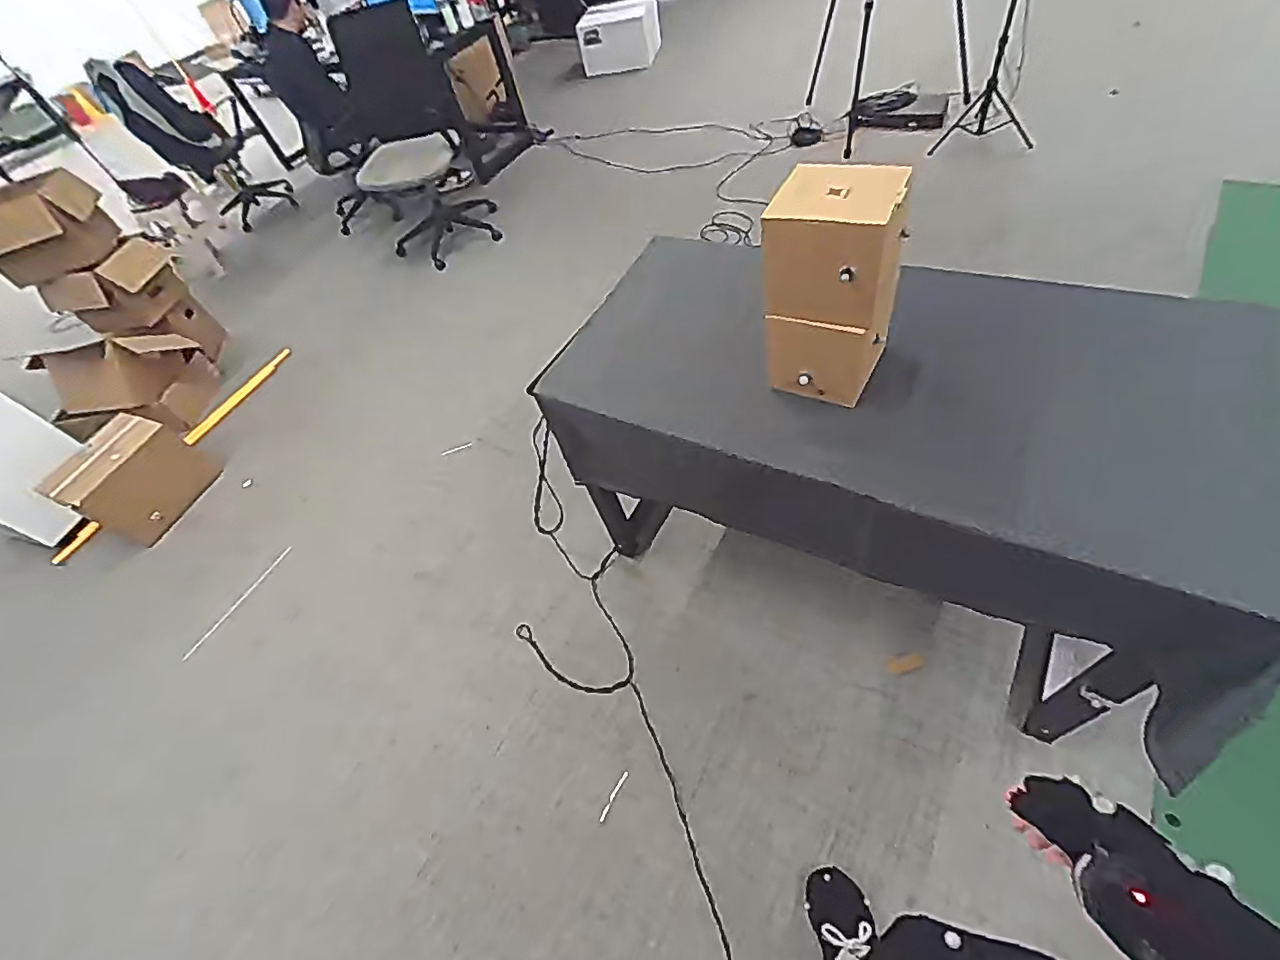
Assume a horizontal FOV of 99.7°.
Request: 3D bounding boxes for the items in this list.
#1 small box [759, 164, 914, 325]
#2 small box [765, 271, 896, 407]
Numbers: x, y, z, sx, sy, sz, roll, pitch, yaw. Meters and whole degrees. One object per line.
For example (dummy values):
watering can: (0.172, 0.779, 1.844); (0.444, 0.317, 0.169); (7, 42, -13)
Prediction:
small box: (0.299, -0.364, 0.842); (0.179, 0.176, 0.168); (18, 59, 26)
small box: (0.334, -0.262, 0.965); (0.168, 0.176, 0.179); (21, 61, 28)
